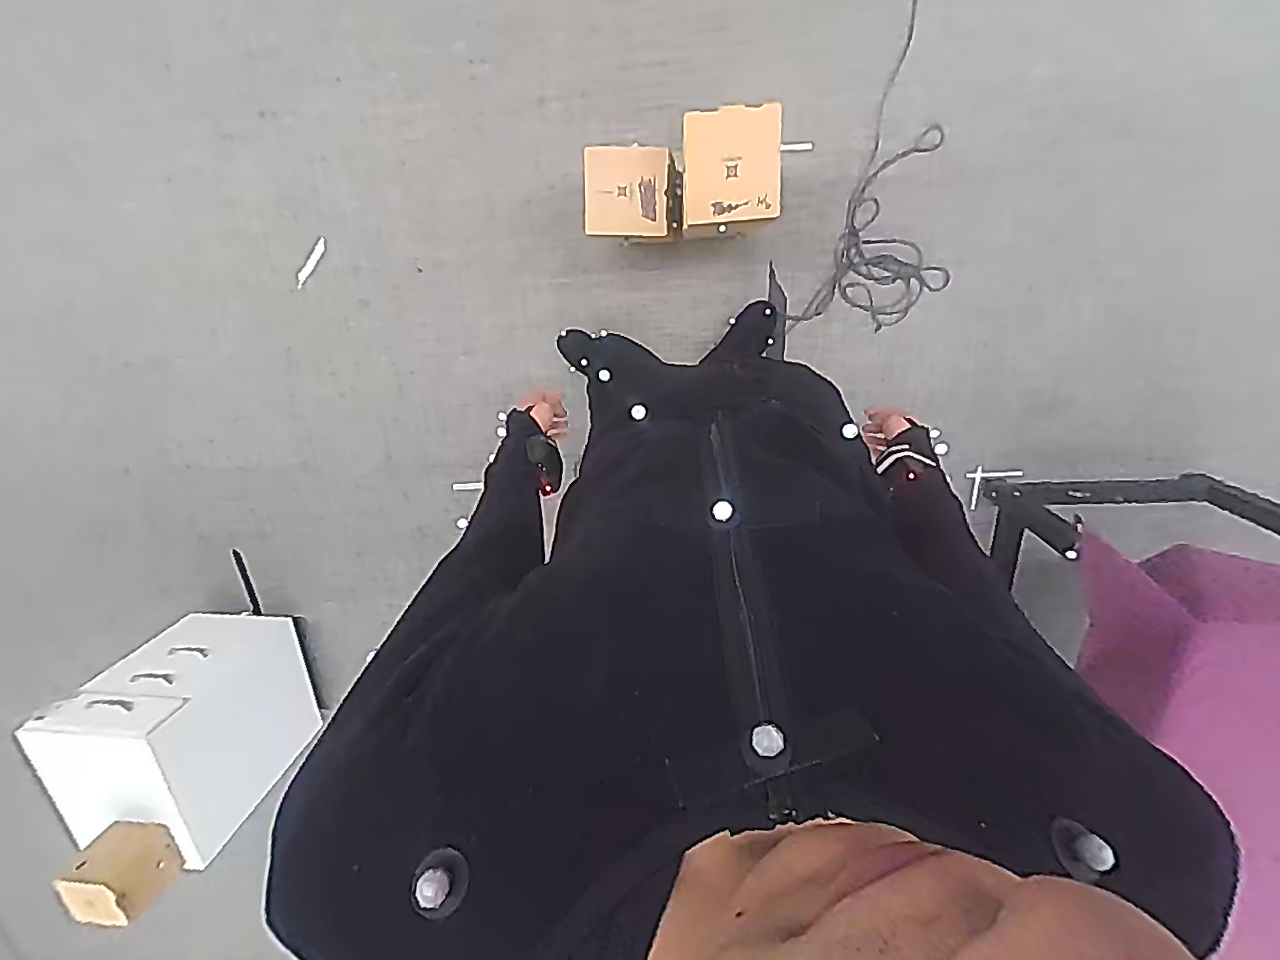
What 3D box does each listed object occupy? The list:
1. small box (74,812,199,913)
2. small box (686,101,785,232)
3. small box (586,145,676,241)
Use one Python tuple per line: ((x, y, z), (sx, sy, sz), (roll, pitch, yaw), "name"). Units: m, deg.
((-1.428, 1.087, 1.547), (0.179, 0.176, 0.168), (0, 111, 7), "small box")
((0.170, -0.565, 0.997), (0.168, 0.176, 0.179), (-1, 110, 8), "small box")
((-0.014, -0.618, 1.177), (0.179, 0.176, 0.168), (4, 111, 7), "small box")
